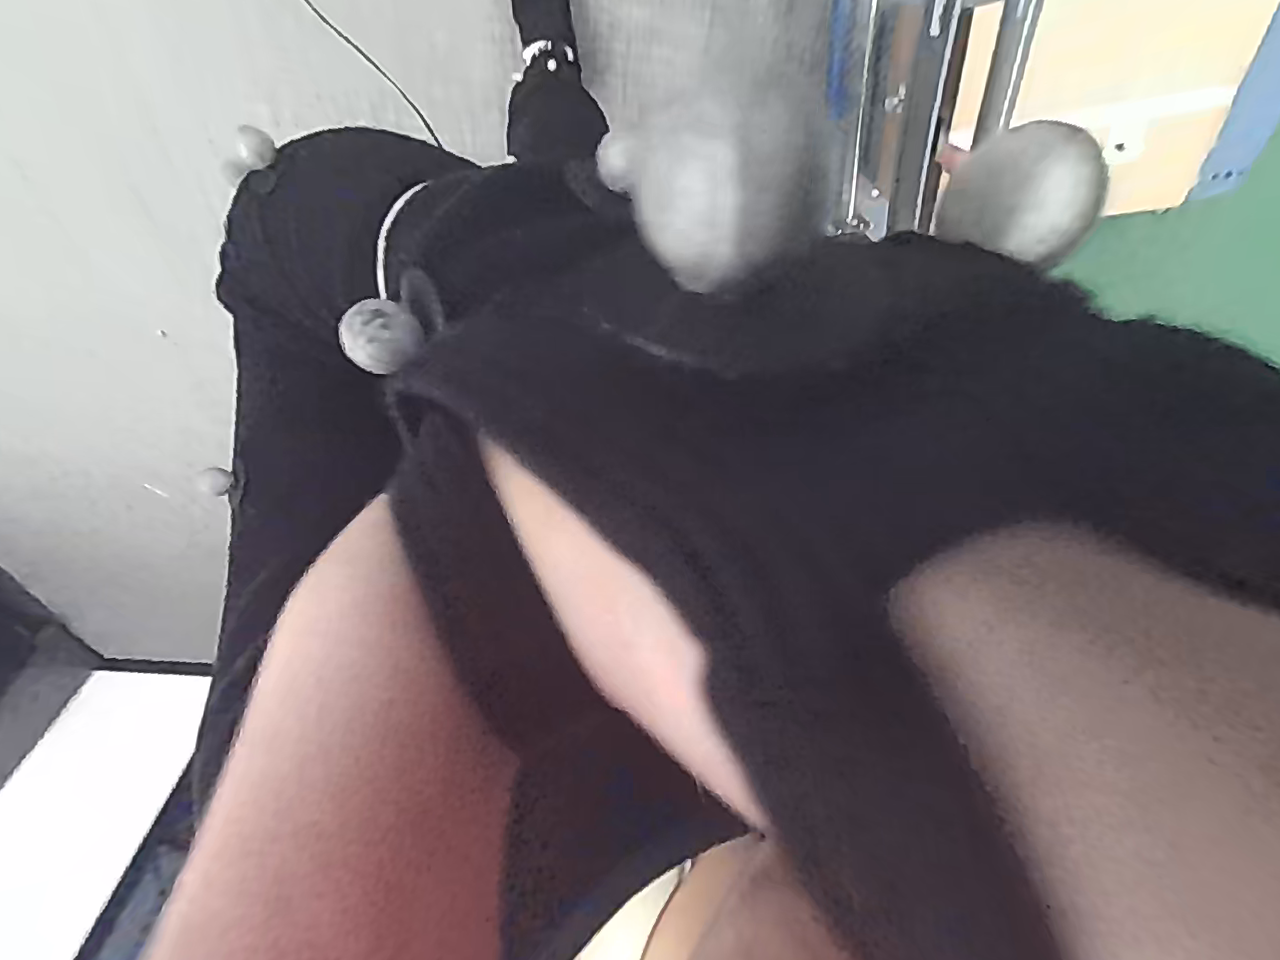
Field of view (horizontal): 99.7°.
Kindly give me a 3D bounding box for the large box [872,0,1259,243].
[{"bbox_3d":[0.670,-0.651,0.947,0.408,0.320,0.320,-6,132,6],"label":"large box"}]
